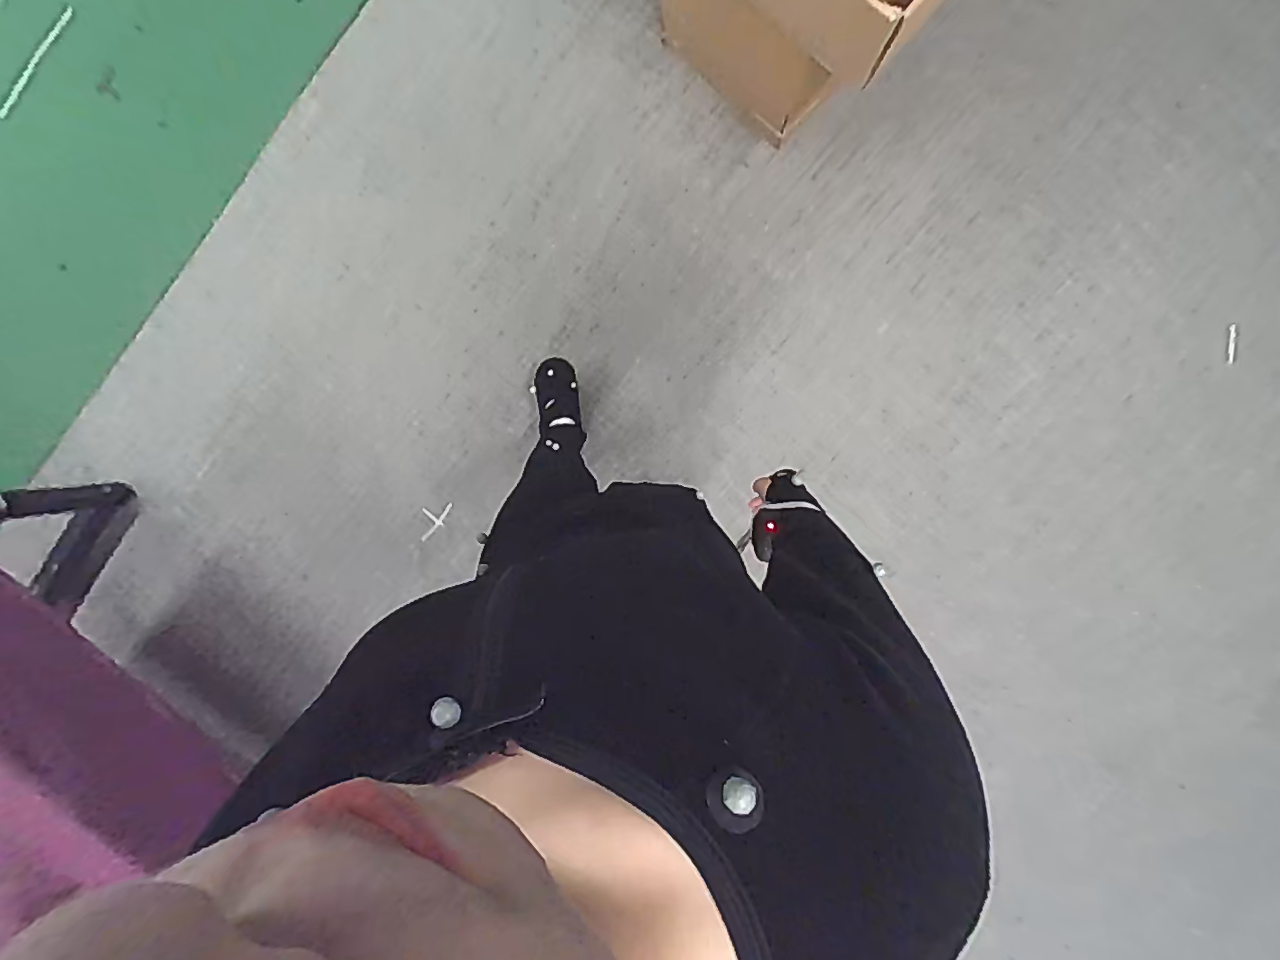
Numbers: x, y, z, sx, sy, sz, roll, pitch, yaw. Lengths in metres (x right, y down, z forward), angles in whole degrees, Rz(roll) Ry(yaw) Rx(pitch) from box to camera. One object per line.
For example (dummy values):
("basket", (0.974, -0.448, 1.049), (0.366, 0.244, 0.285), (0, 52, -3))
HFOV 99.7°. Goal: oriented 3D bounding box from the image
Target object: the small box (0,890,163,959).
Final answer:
("small box", (-0.848, 0.751, 0.773), (0.168, 0.176, 0.179), (40, 96, 0))
